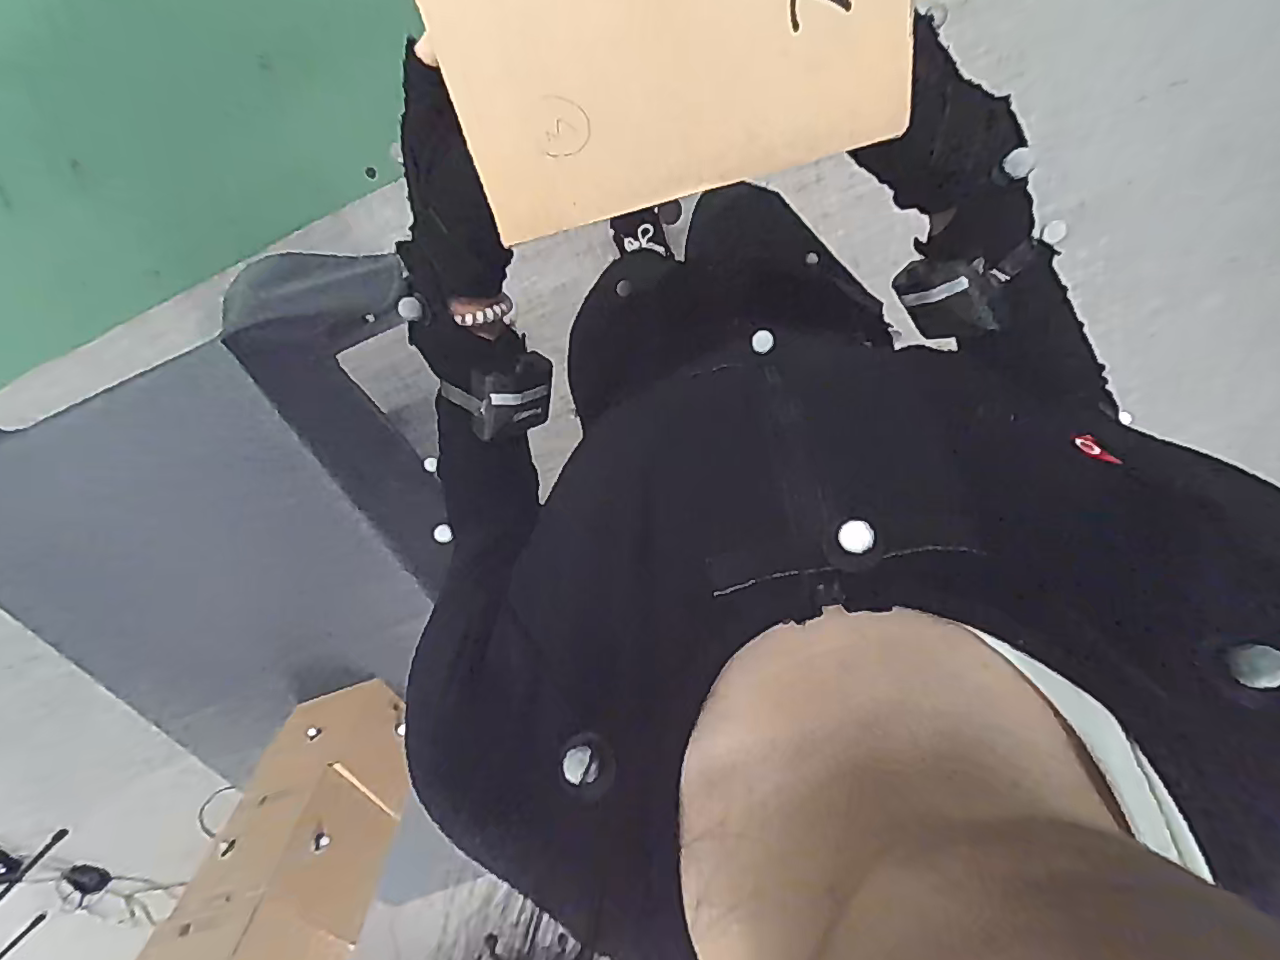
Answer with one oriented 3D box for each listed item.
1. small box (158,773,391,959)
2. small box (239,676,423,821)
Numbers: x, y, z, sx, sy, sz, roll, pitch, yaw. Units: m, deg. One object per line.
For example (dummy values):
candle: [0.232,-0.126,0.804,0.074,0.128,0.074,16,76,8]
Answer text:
small box: [-0.496,0.545,0.767,0.168,0.176,0.179,-22,117,10]
small box: [-0.501,0.465,0.908,0.179,0.176,0.168,-21,117,8]
